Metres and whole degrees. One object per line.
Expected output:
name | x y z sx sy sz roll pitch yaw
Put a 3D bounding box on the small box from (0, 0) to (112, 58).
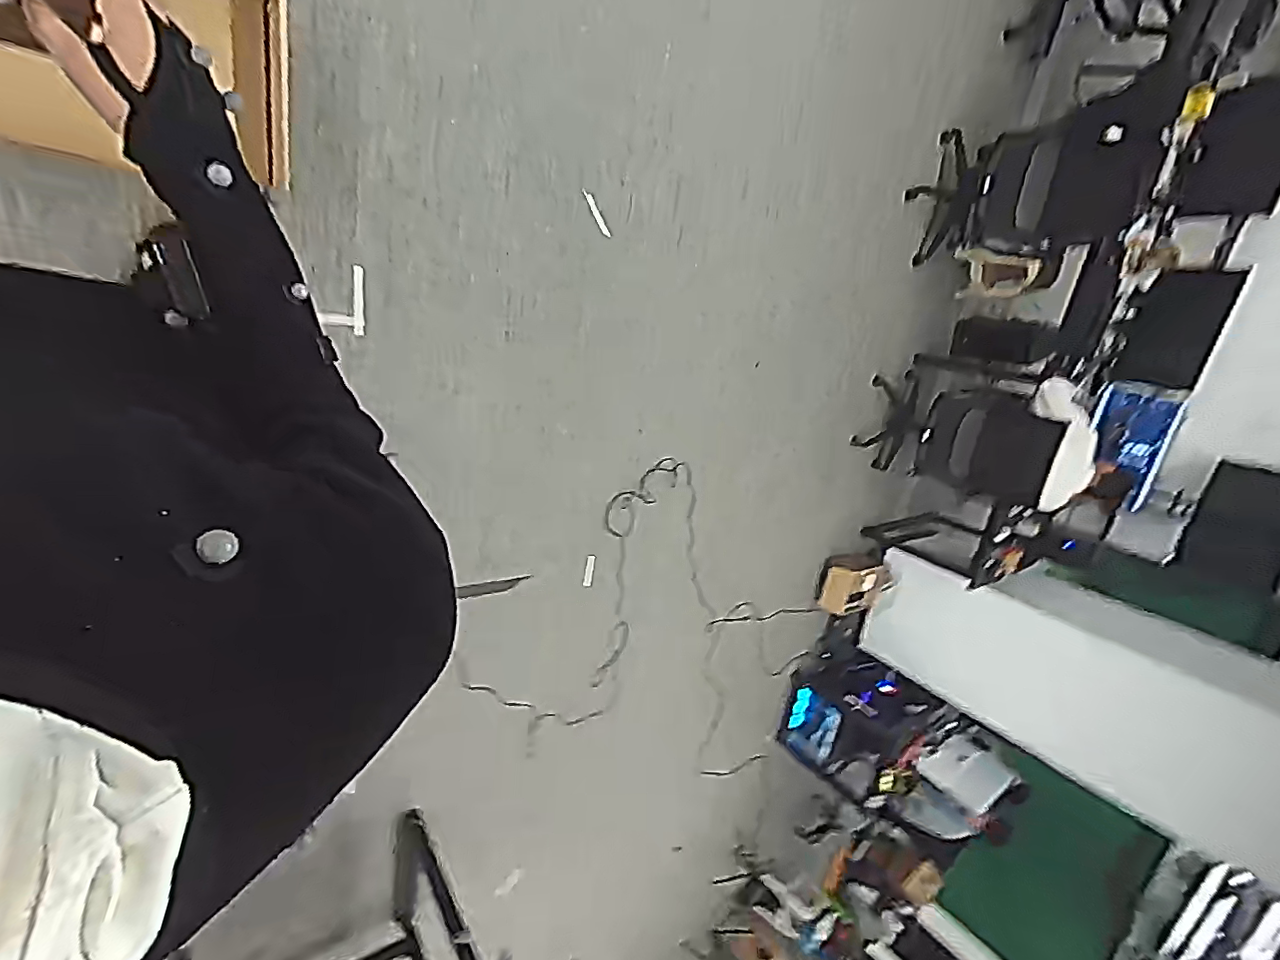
small box | -0.470 -0.401 0.334 0.179 0.176 0.168 -15 111 -45
